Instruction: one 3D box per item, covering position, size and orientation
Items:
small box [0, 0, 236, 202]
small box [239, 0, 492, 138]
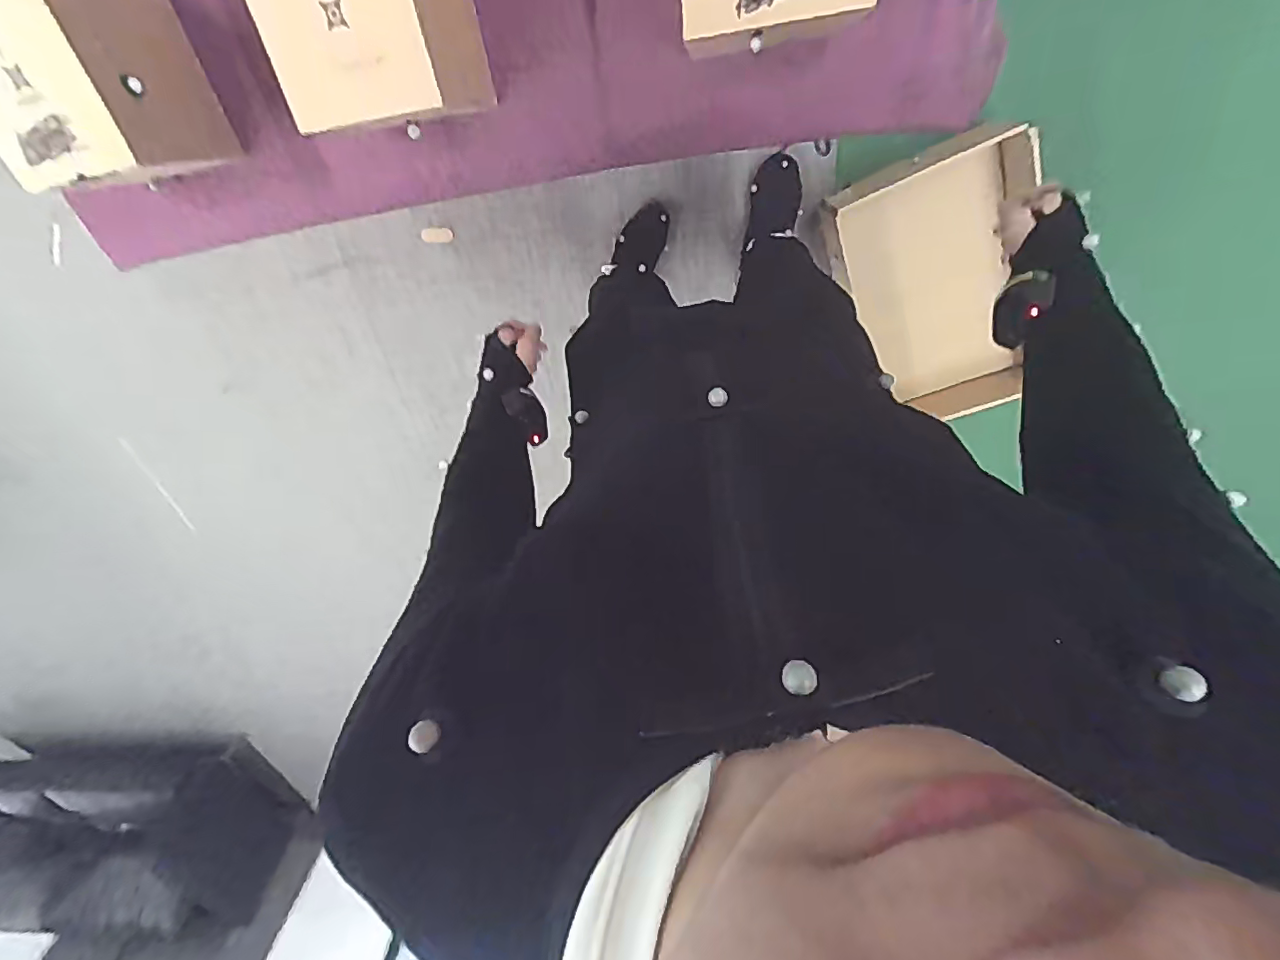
[{"bbox_3d":[-0.633,-0.442,0.629,0.168,0.176,0.179,-5,122,11],"label":"small box"},{"bbox_3d":[-0.277,-0.470,0.565,0.168,0.176,0.179,-2,123,10],"label":"small box"}]
